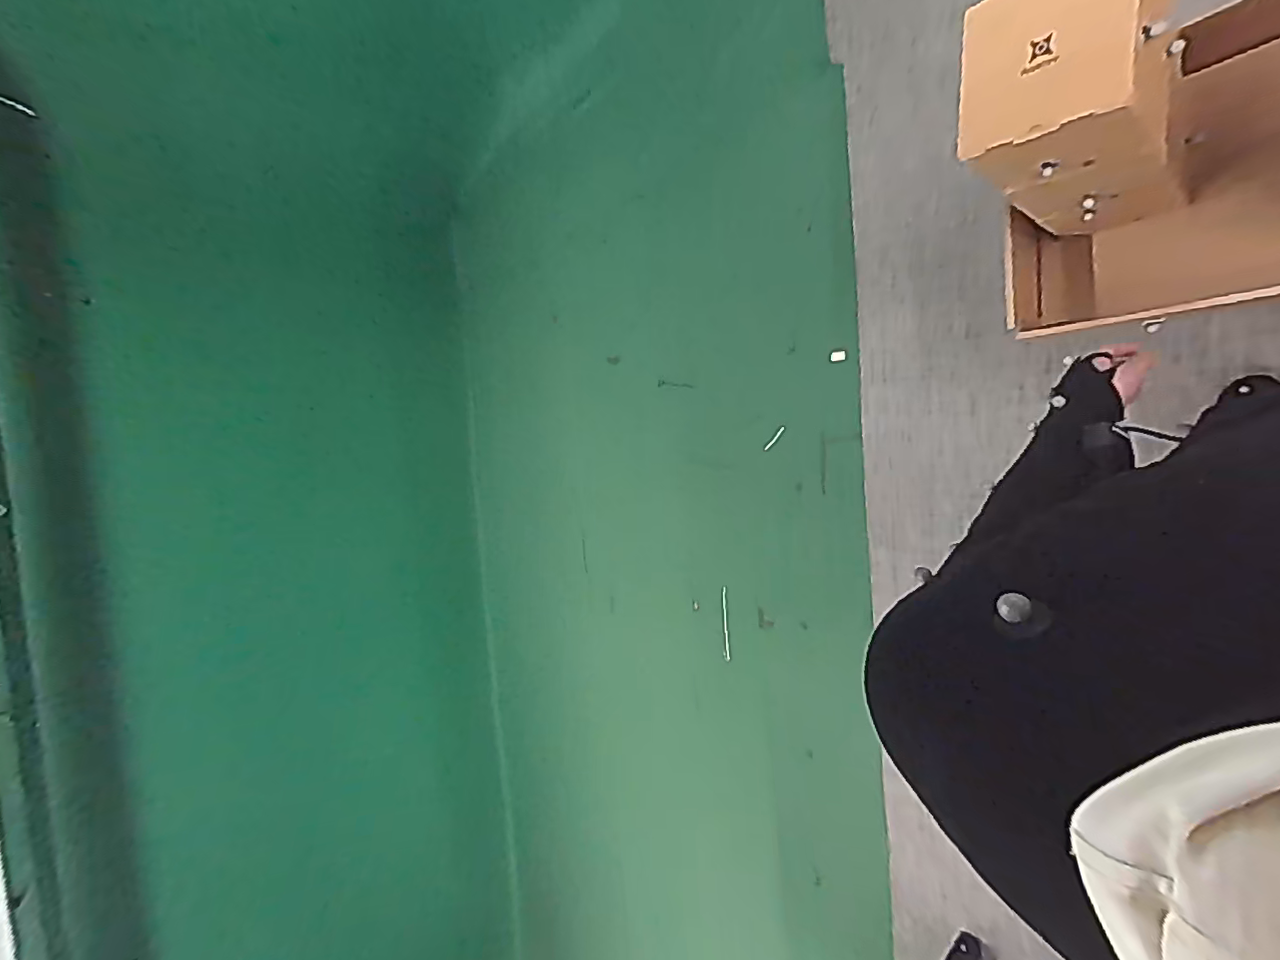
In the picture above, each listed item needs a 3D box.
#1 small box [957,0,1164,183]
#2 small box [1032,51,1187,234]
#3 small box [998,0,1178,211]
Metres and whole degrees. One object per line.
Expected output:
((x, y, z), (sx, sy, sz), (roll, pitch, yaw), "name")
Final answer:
((0.509, -0.496, 0.657), (0.168, 0.176, 0.179), (7, 101, 49), "small box")
((0.754, -0.524, 0.870), (0.168, 0.176, 0.179), (3, 97, 49), "small box")
((0.631, -0.510, 0.763), (0.168, 0.176, 0.179), (5, 100, 50), "small box")
